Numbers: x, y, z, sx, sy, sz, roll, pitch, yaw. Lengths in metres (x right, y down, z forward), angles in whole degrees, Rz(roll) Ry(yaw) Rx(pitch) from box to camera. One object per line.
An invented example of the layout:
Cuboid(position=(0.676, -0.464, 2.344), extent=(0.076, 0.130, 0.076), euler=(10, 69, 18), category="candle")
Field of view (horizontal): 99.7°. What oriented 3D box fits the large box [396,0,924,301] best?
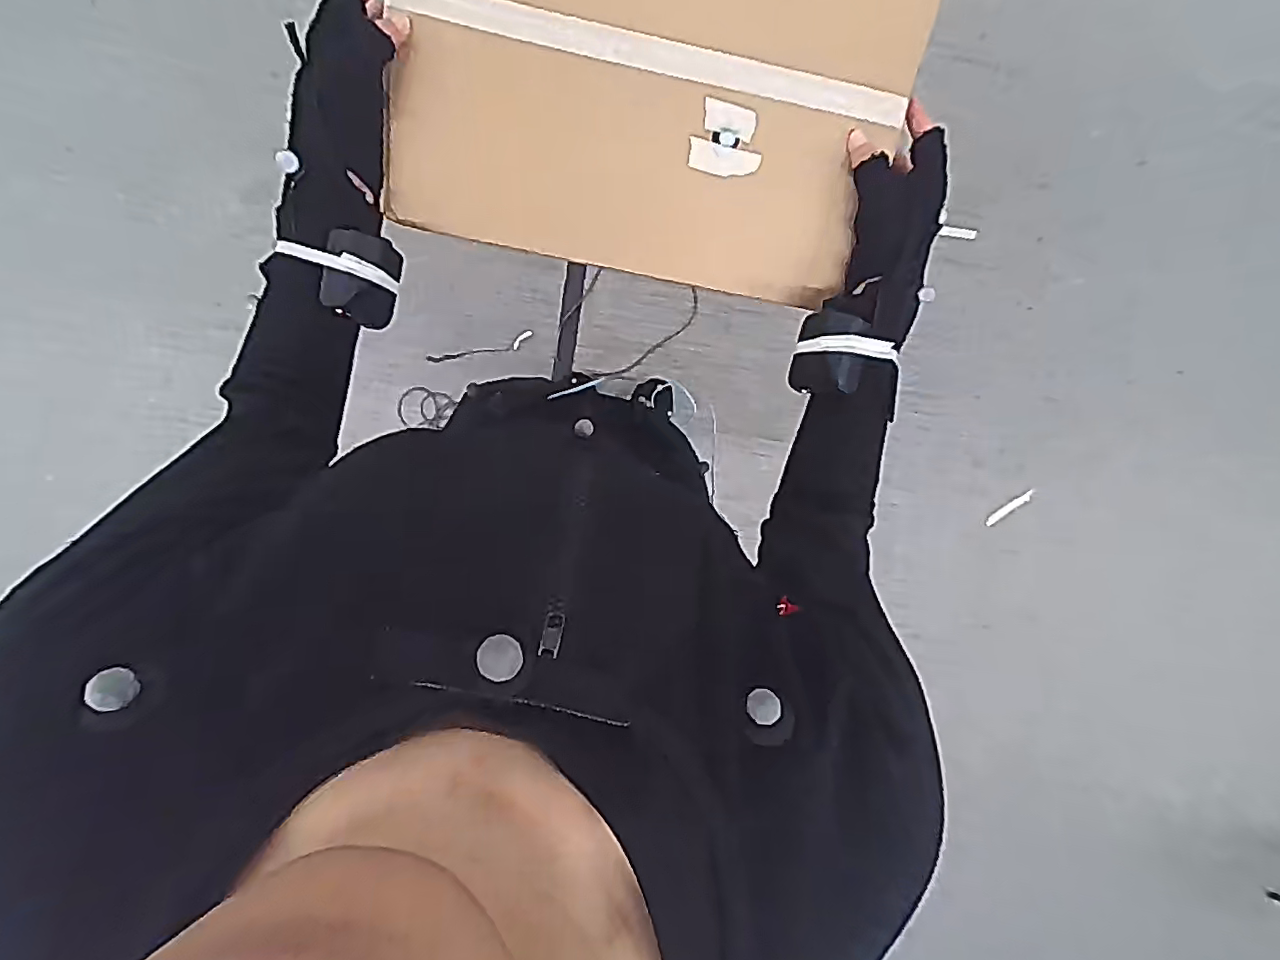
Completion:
Cuboid(position=(0.004, -0.391, 0.563), extent=(0.408, 0.320, 0.320), euler=(9, 114, -6), category="large box")
